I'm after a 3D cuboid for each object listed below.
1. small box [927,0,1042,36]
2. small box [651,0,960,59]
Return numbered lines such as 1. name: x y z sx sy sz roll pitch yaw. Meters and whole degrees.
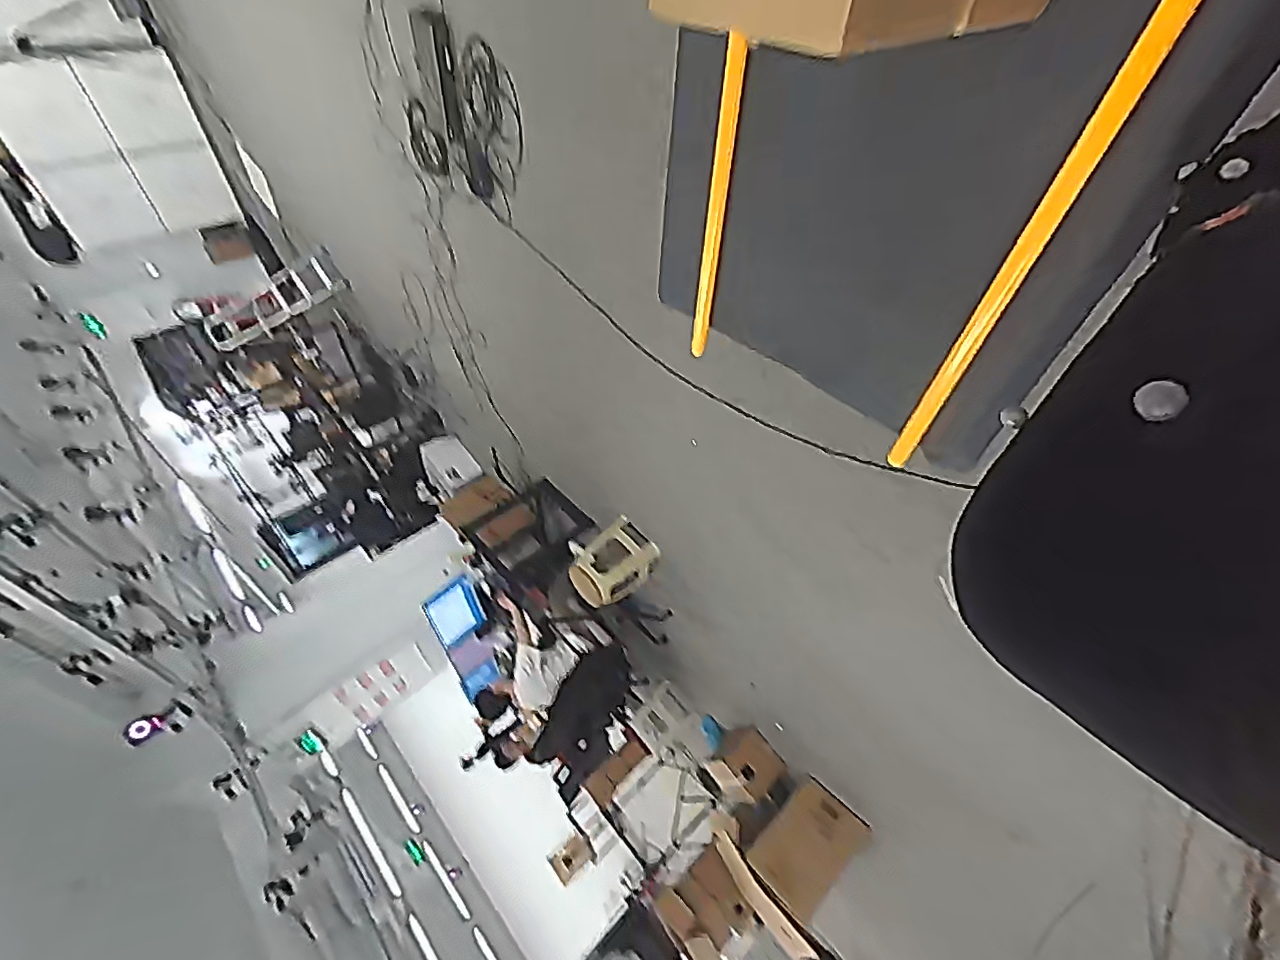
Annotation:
1. small box: 0.254 -0.493 0.449 0.179 0.176 0.168 39 148 30
2. small box: 0.131 -0.415 0.372 0.179 0.176 0.168 39 147 28
